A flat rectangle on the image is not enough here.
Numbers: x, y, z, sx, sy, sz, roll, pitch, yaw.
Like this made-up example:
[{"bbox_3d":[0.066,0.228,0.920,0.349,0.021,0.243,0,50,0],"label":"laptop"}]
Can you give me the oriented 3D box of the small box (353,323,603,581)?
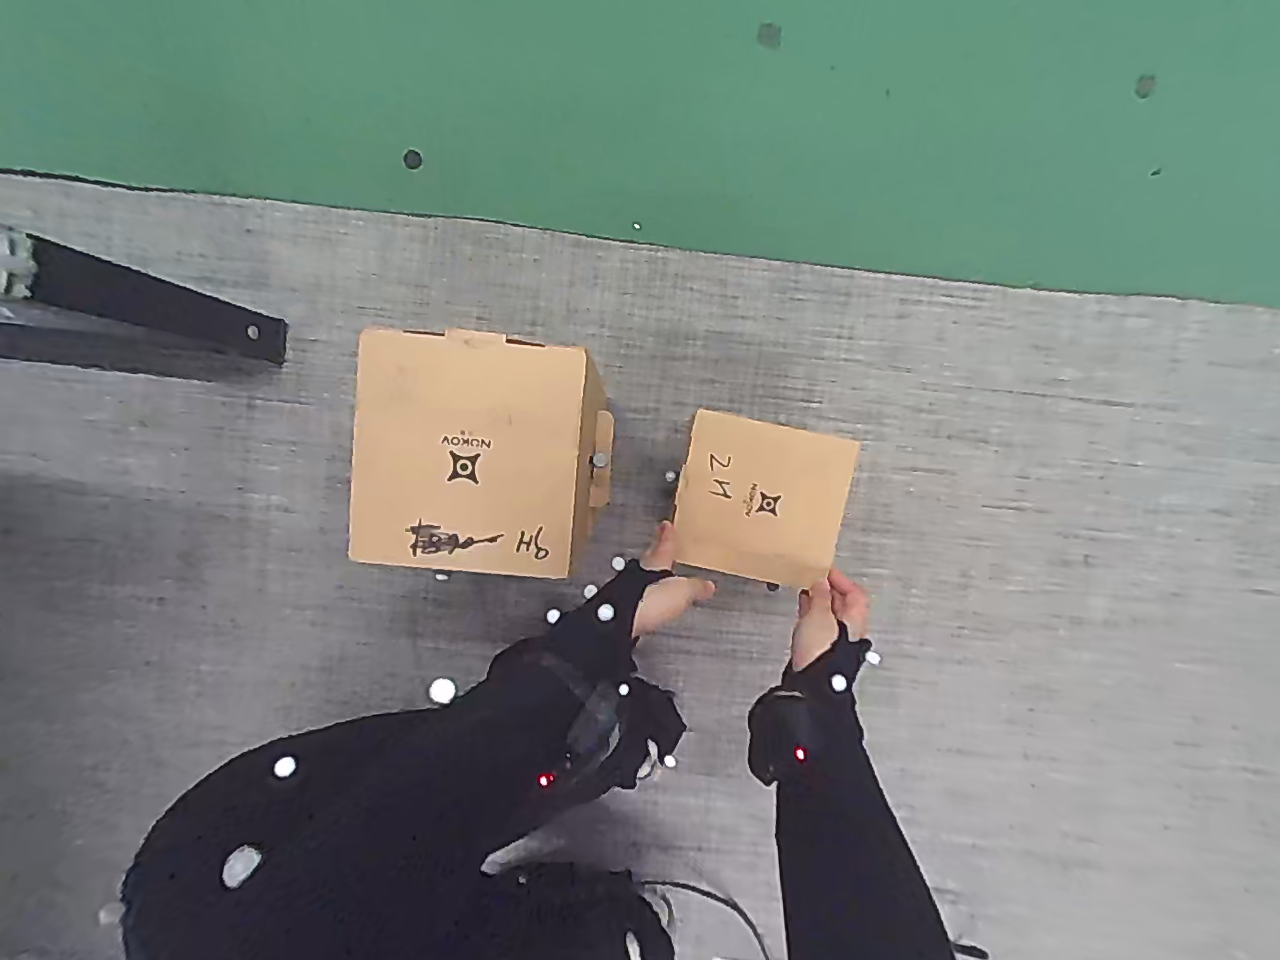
[{"bbox_3d":[-0.124,-0.023,0.478,0.168,0.176,0.179,7,93,-3],"label":"small box"}]
